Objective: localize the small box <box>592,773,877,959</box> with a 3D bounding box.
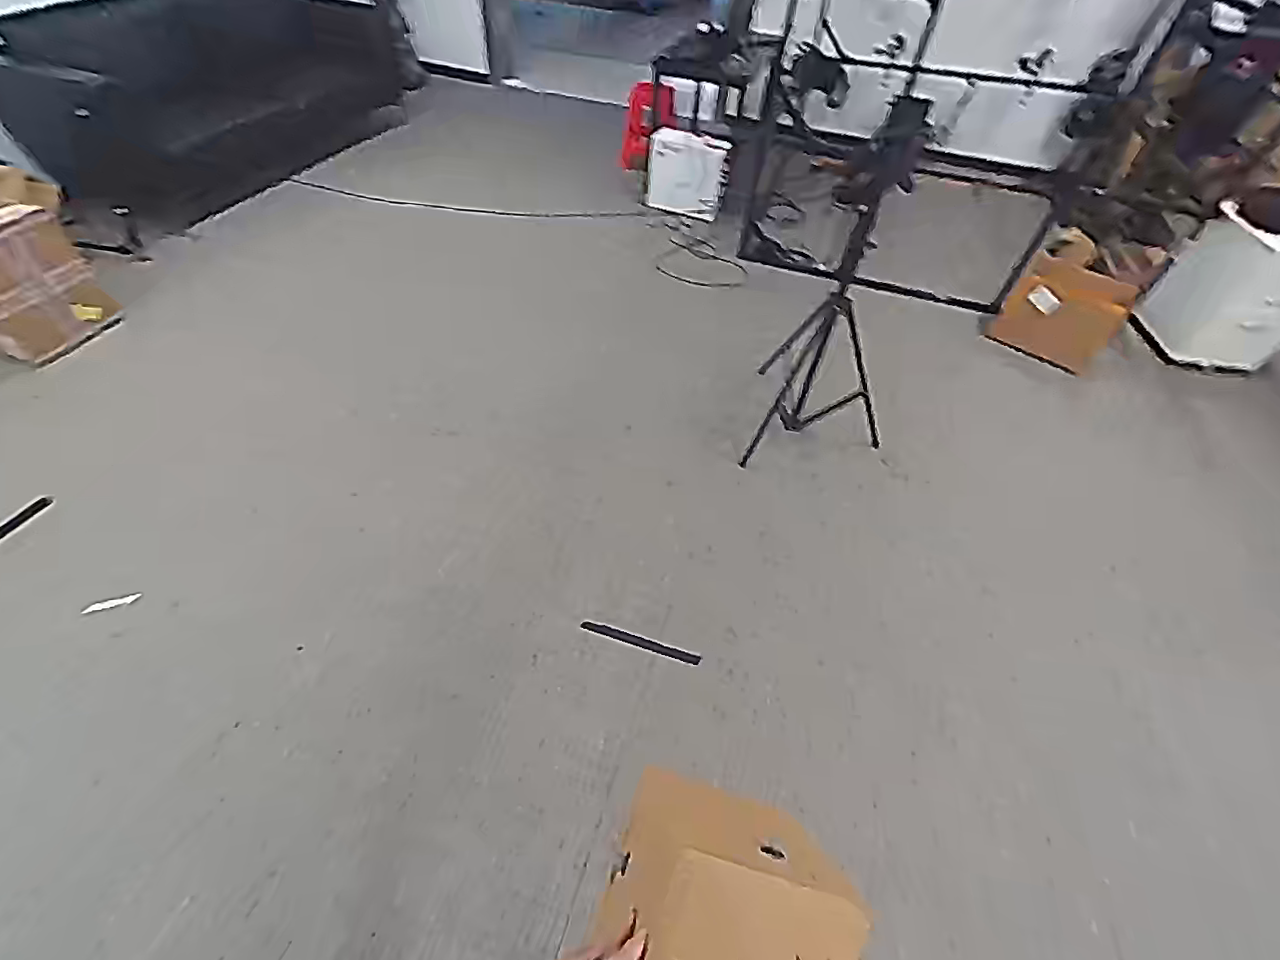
[{"bbox_3d":[0.069,0.397,0.487,0.179,0.176,0.168,23,79,-6],"label":"small box"}]
